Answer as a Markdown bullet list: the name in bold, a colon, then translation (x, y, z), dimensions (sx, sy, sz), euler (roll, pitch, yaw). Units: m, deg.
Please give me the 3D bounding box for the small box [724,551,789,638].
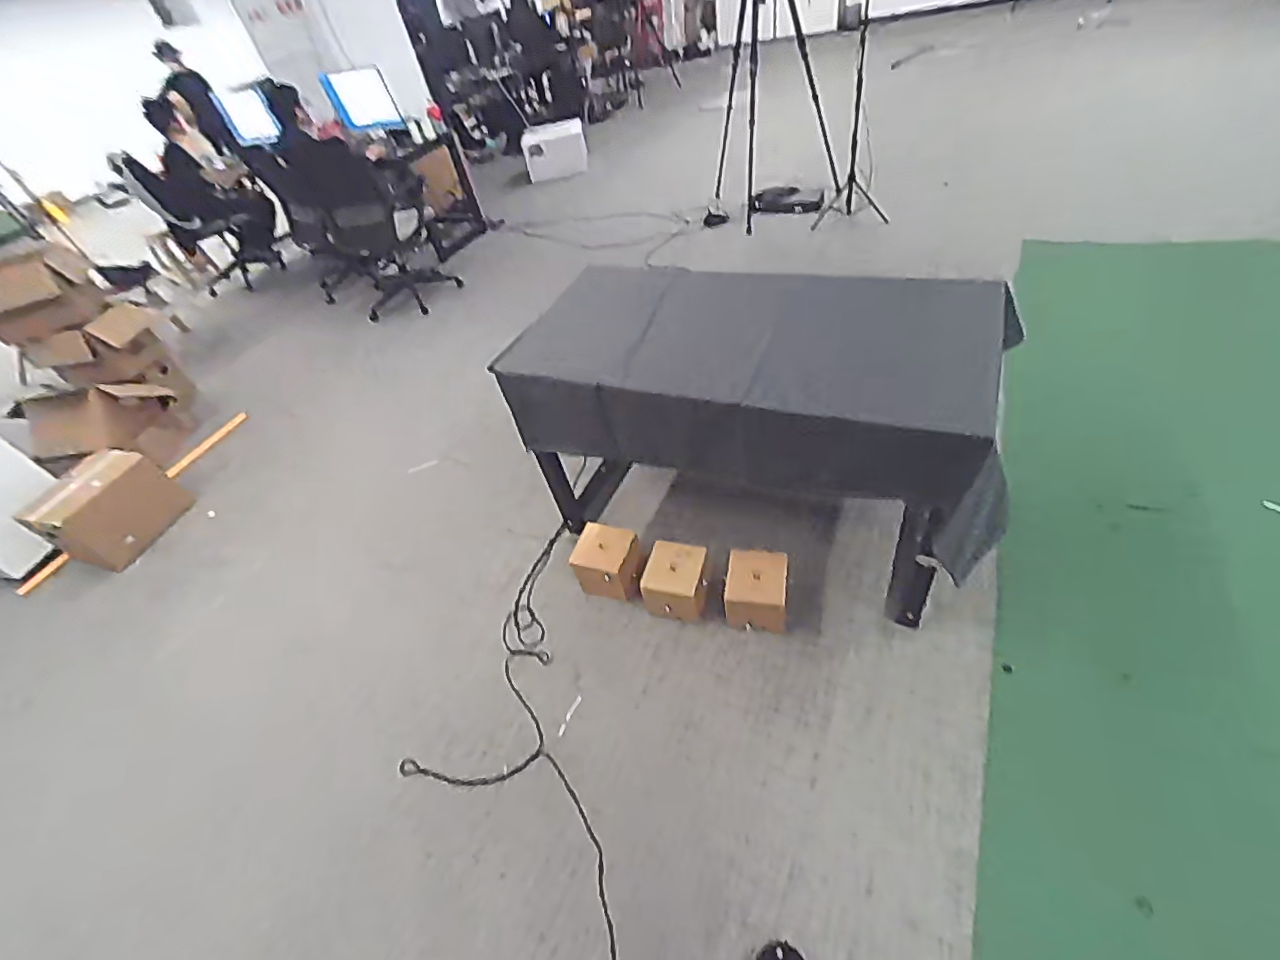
- **small box**: translation (0.343, 0.333, 1.580), dimensions (0.168, 0.176, 0.179), euler (3, 46, 17)
